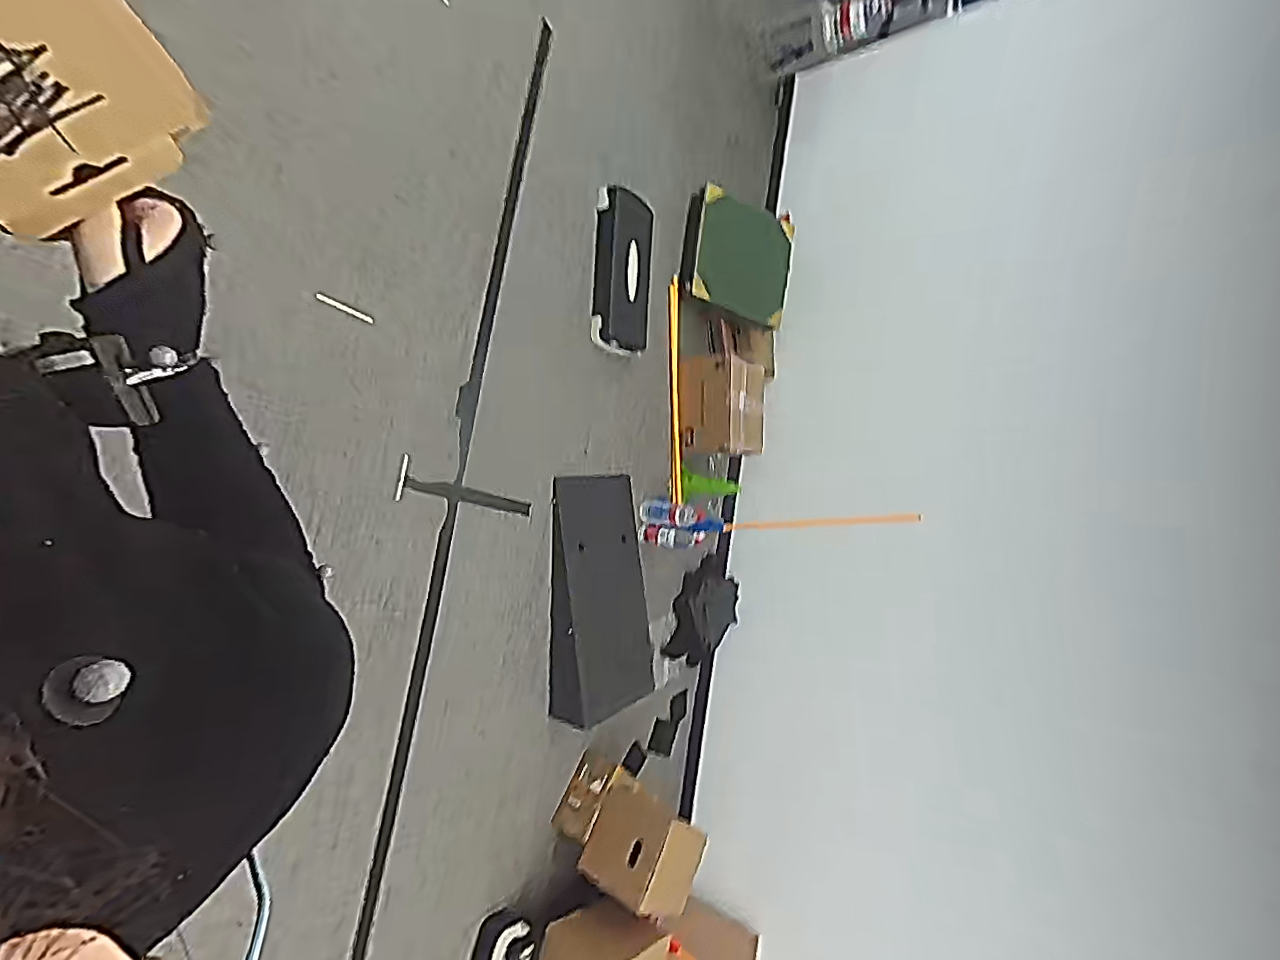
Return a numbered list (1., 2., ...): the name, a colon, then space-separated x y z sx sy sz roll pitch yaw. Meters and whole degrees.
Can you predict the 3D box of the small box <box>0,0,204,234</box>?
1. small box: -0.413 -0.259 0.307 0.168 0.176 0.179 -51 141 -21
